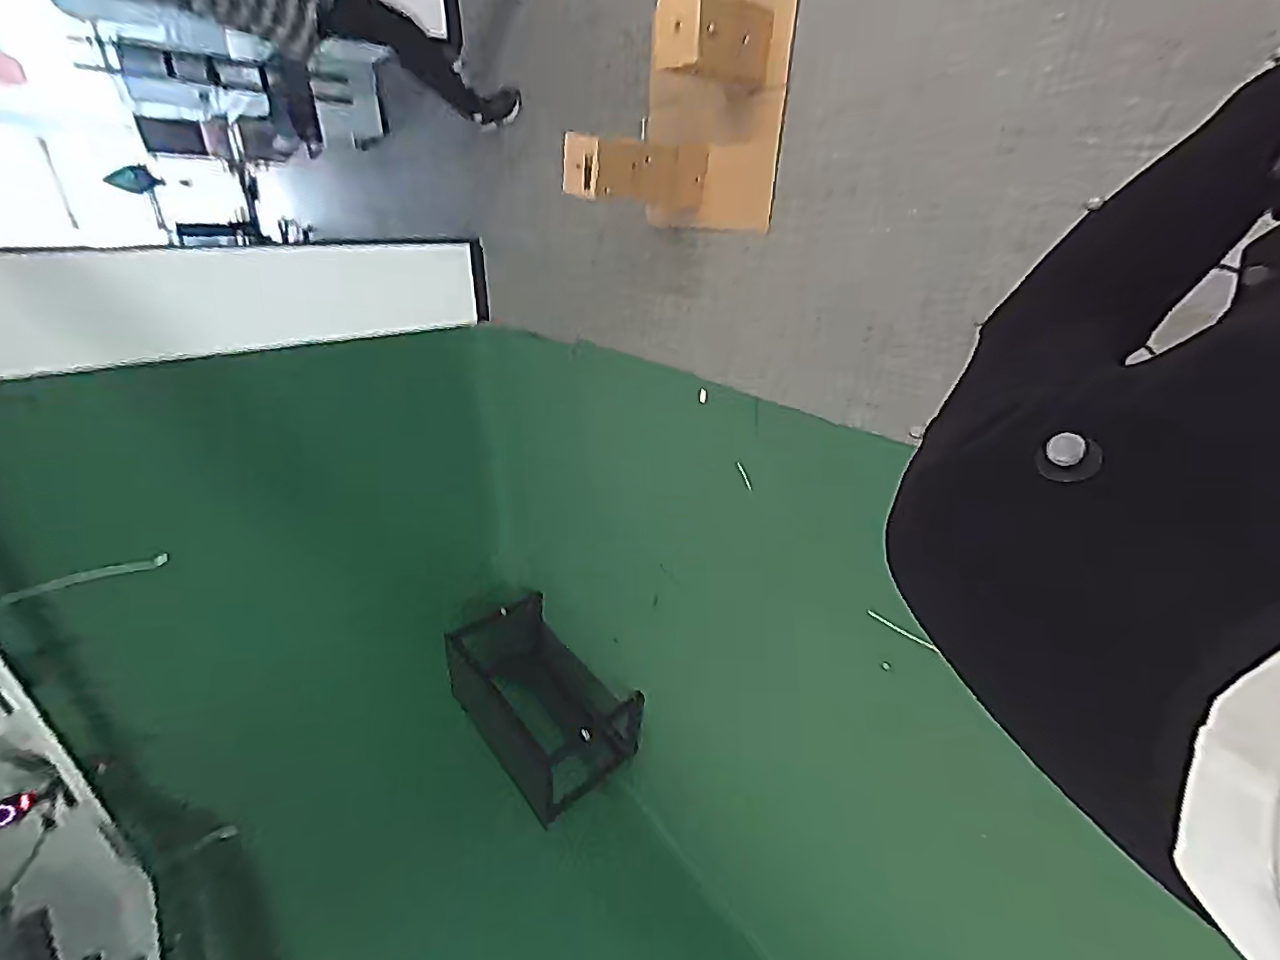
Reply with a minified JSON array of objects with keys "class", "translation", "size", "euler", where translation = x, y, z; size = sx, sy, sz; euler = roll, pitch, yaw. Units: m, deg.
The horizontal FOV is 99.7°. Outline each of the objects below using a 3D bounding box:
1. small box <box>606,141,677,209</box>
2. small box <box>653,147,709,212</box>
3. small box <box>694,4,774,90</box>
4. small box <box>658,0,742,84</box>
[{"class":"small box","translation":[0.006,-1.026,1.824],"size":[0.168,0.176,0.179],"euler":[36,131,36]},{"class":"small box","translation":[0.125,-1.071,1.931],"size":[0.168,0.176,0.179],"euler":[37,131,36]},{"class":"small box","translation":[0.286,-1.298,1.636],"size":[0.168,0.176,0.179],"euler":[29,127,40]},{"class":"small box","translation":[0.171,-1.250,1.533],"size":[0.168,0.176,0.179],"euler":[27,127,40]}]
